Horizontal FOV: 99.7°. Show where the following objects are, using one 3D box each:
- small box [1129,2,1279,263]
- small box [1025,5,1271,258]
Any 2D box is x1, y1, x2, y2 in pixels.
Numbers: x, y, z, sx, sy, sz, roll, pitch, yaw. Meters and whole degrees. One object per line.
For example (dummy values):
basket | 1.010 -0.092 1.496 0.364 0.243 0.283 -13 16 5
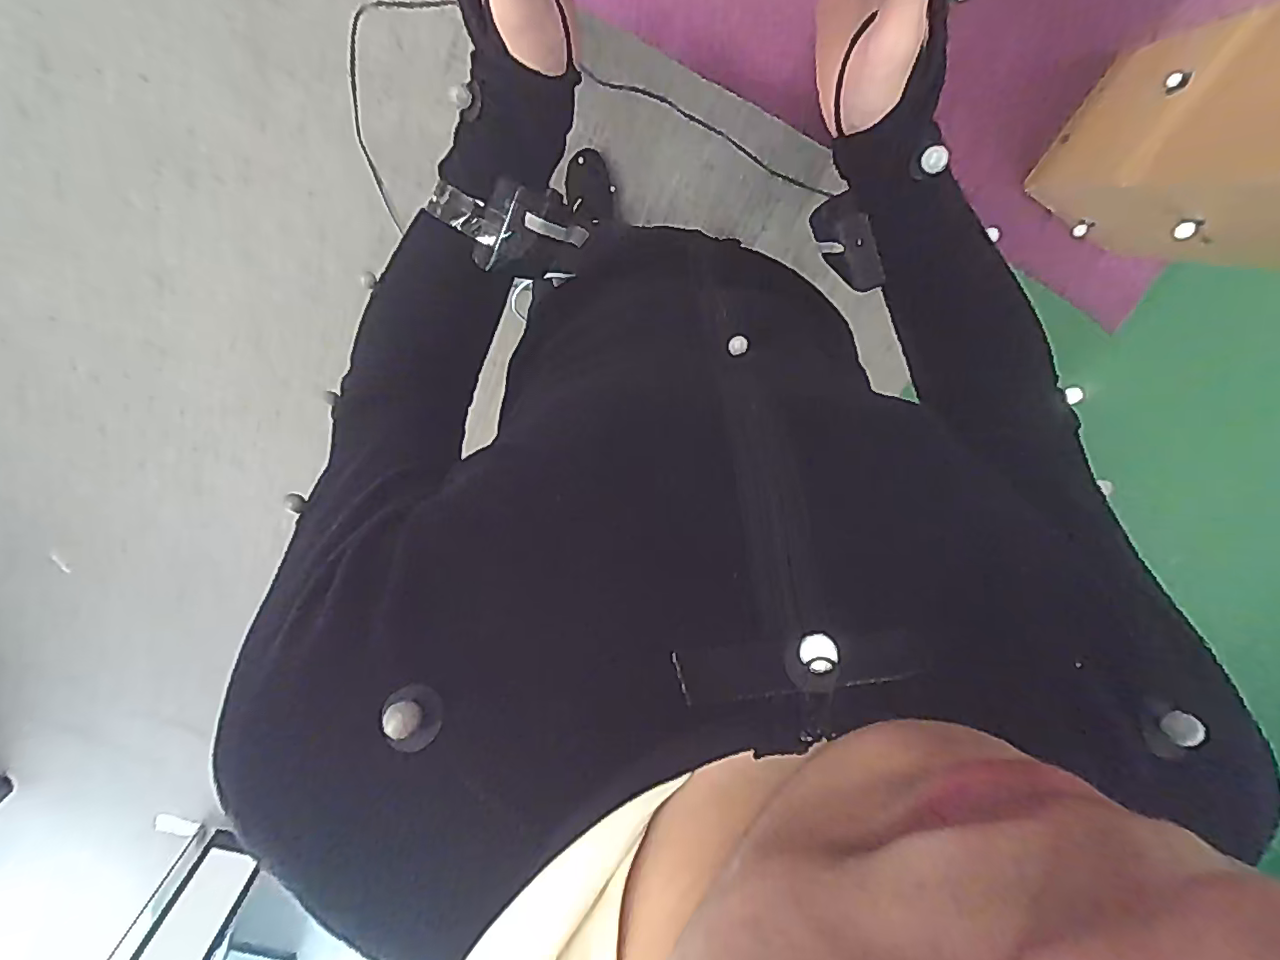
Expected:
small box | 0.615 -0.313 0.481 0.168 0.176 0.179 27 115 -11
small box | 0.613 -0.386 0.627 0.179 0.176 0.168 26 114 -13
